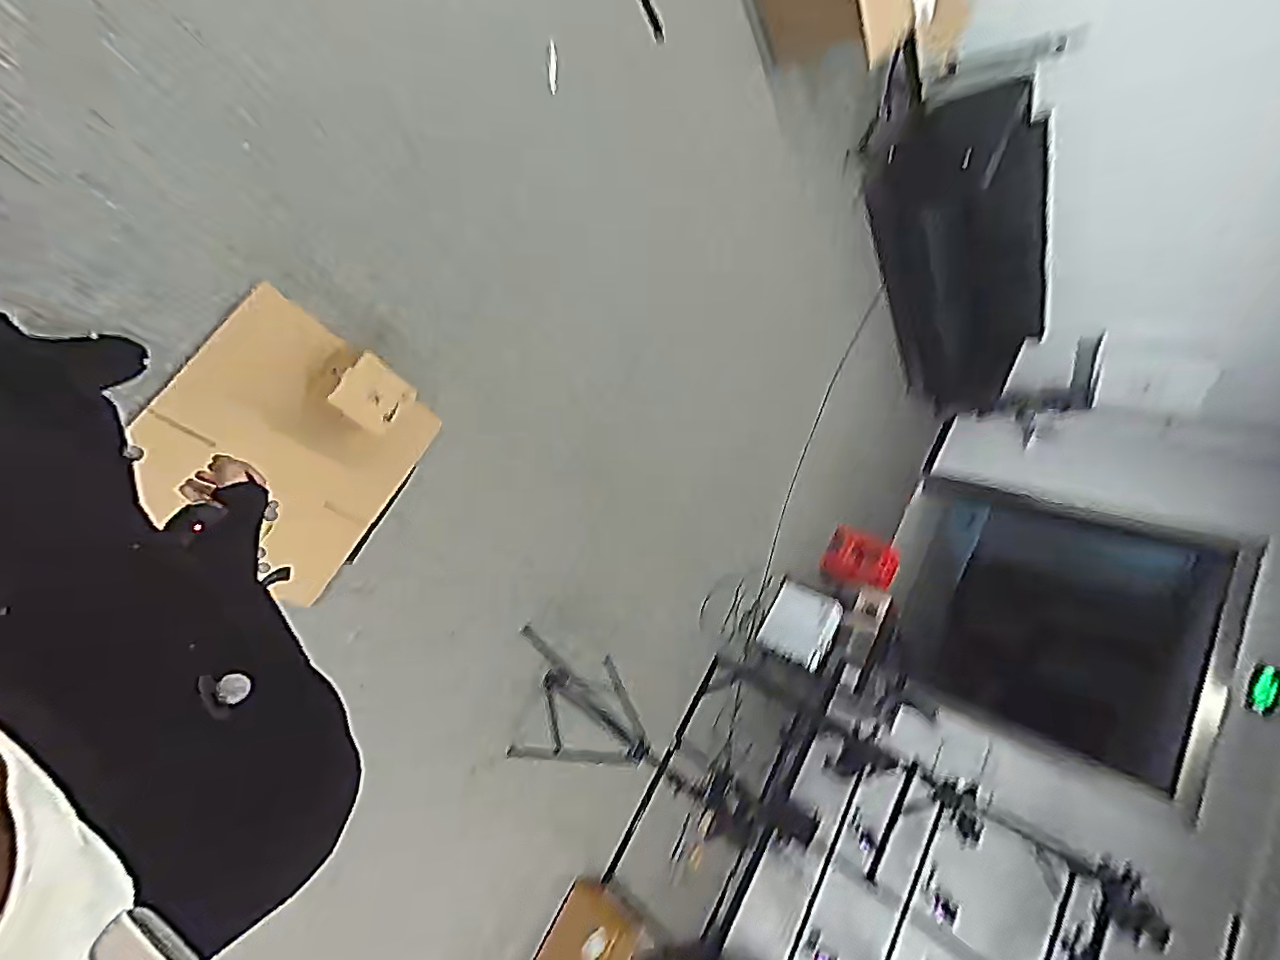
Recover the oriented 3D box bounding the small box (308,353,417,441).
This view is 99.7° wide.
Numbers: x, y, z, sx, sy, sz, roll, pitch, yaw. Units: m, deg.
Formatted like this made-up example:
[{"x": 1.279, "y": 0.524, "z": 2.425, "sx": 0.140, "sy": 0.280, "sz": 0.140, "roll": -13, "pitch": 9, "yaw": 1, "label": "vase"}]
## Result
[{"x": -0.757, "y": -0.229, "z": 1.470, "sx": 0.168, "sy": 0.176, "sz": 0.179, "roll": -58, "pitch": 136, "yaw": -16, "label": "small box"}]
